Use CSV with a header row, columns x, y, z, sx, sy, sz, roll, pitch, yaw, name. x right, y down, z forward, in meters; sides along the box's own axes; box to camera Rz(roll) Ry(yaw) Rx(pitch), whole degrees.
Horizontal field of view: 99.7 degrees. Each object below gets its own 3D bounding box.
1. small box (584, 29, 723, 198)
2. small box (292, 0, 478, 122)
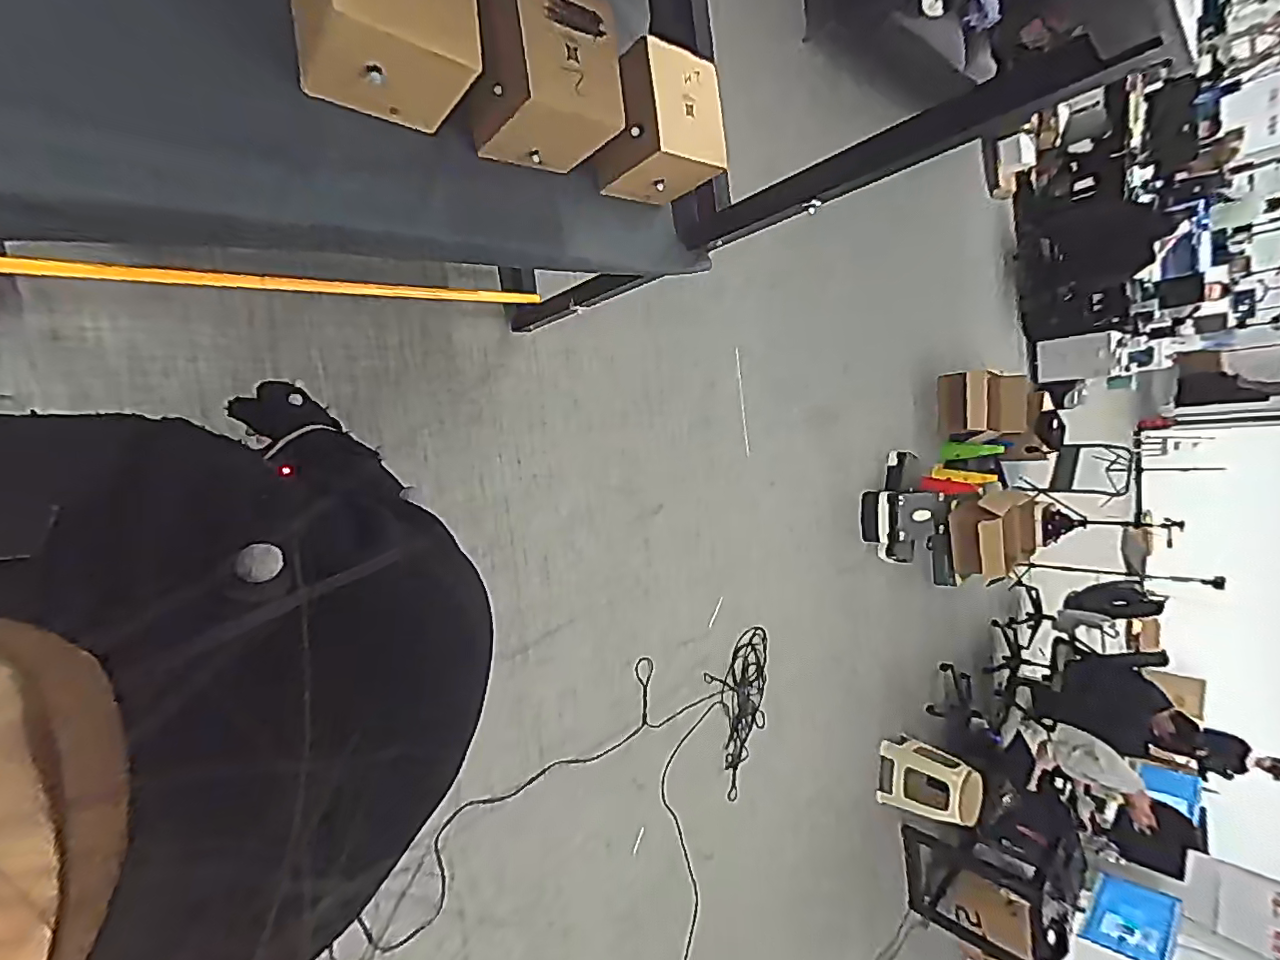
x,y,z,sx,sy,sz,roll,pitch,yaw,name
0.022,-0.625,0.953,0.168,0.176,0.179,-15,100,-41,small box
-0.315,-0.585,0.661,0.168,0.176,0.179,-7,95,-41,small box
